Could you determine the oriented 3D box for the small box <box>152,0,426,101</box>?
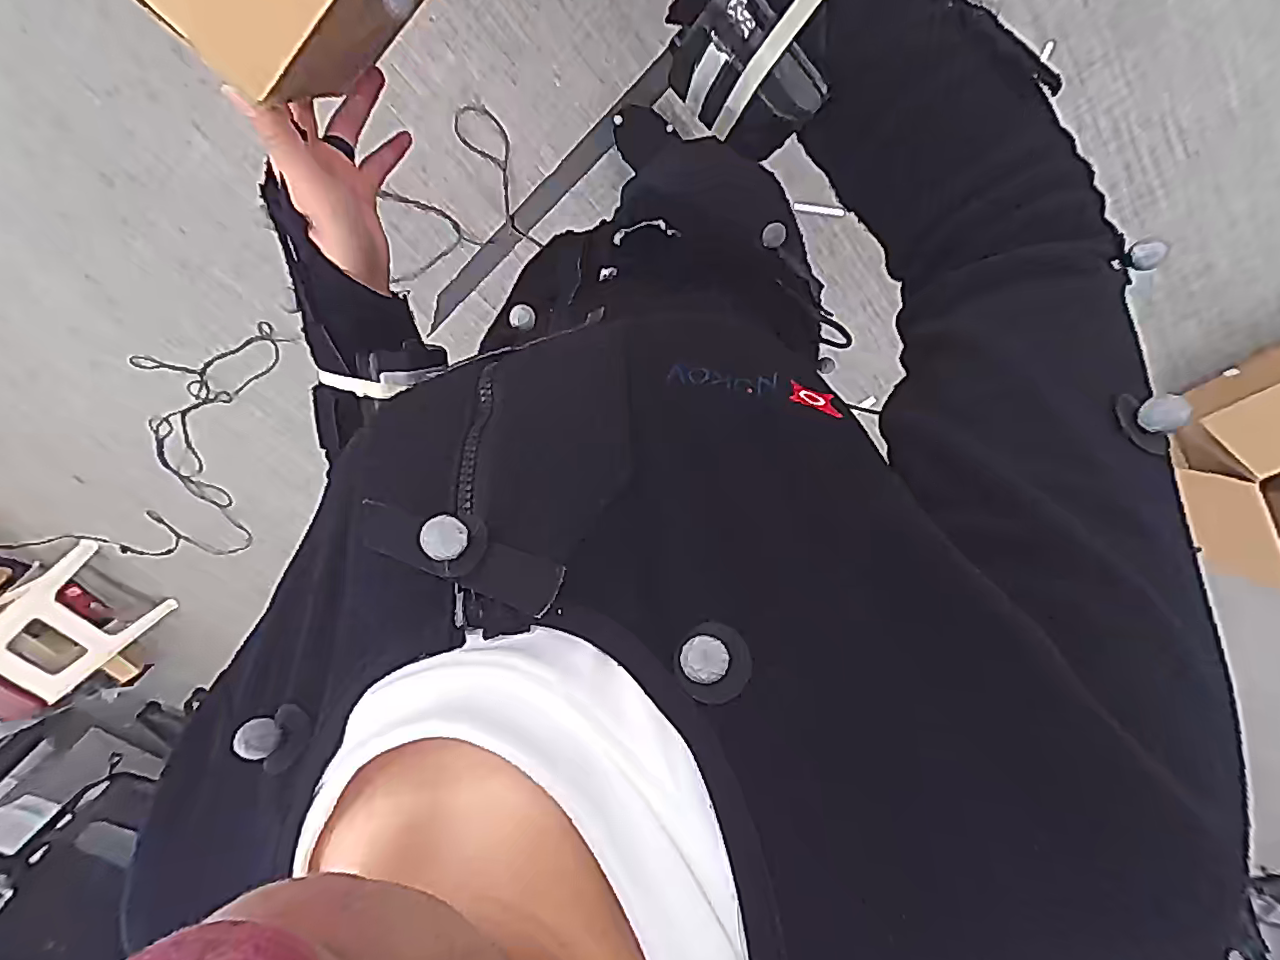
[{"bbox_3d":[-0.172,-0.318,0.245,0.179,0.176,0.168,-36,125,17],"label":"small box"}]
